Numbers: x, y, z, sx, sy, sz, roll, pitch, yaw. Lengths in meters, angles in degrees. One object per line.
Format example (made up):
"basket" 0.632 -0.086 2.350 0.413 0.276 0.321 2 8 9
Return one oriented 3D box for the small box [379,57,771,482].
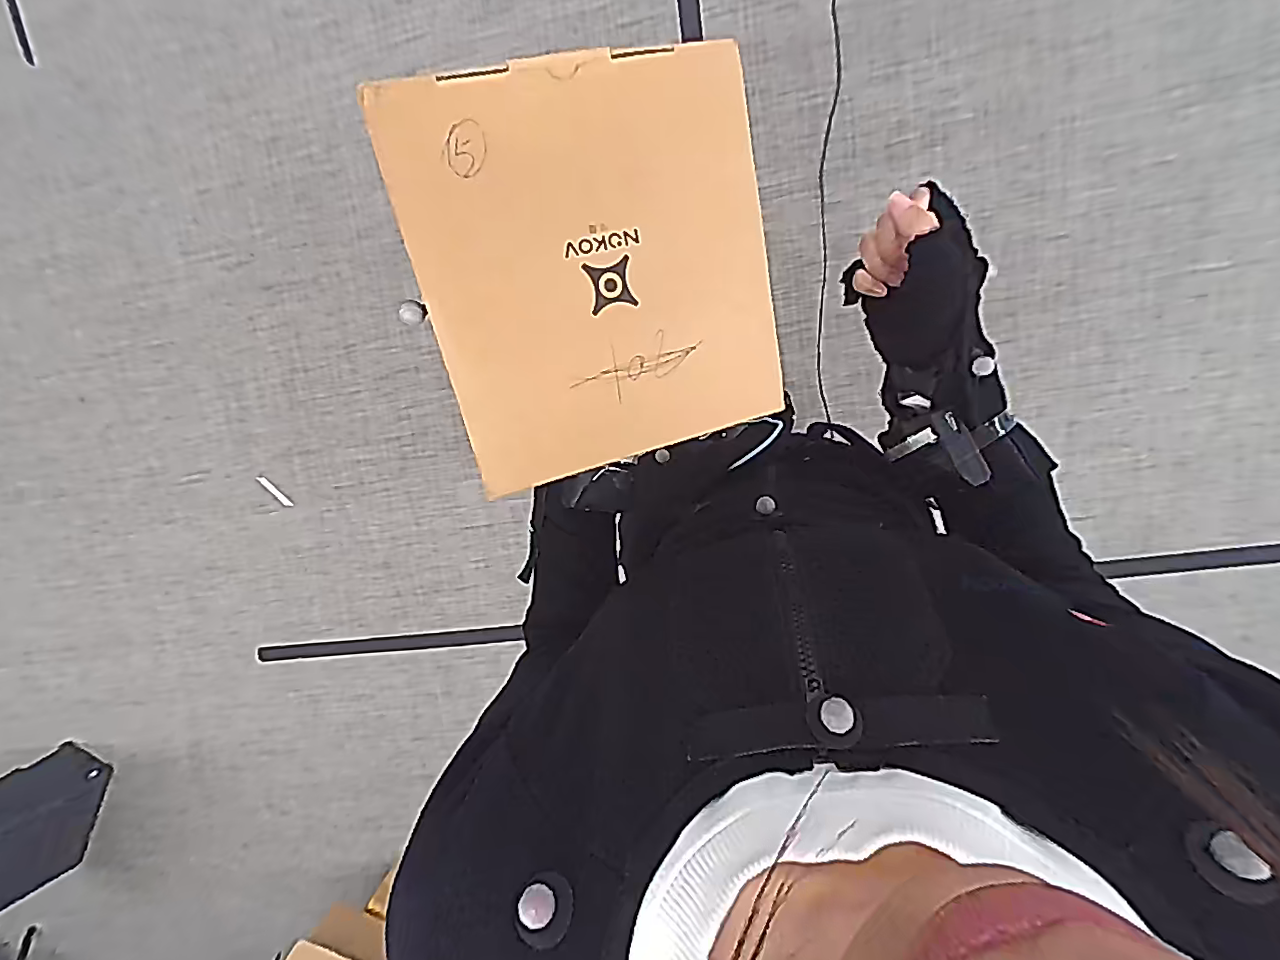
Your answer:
"small box" -0.042 -0.119 0.340 0.168 0.176 0.179 -17 109 -13
